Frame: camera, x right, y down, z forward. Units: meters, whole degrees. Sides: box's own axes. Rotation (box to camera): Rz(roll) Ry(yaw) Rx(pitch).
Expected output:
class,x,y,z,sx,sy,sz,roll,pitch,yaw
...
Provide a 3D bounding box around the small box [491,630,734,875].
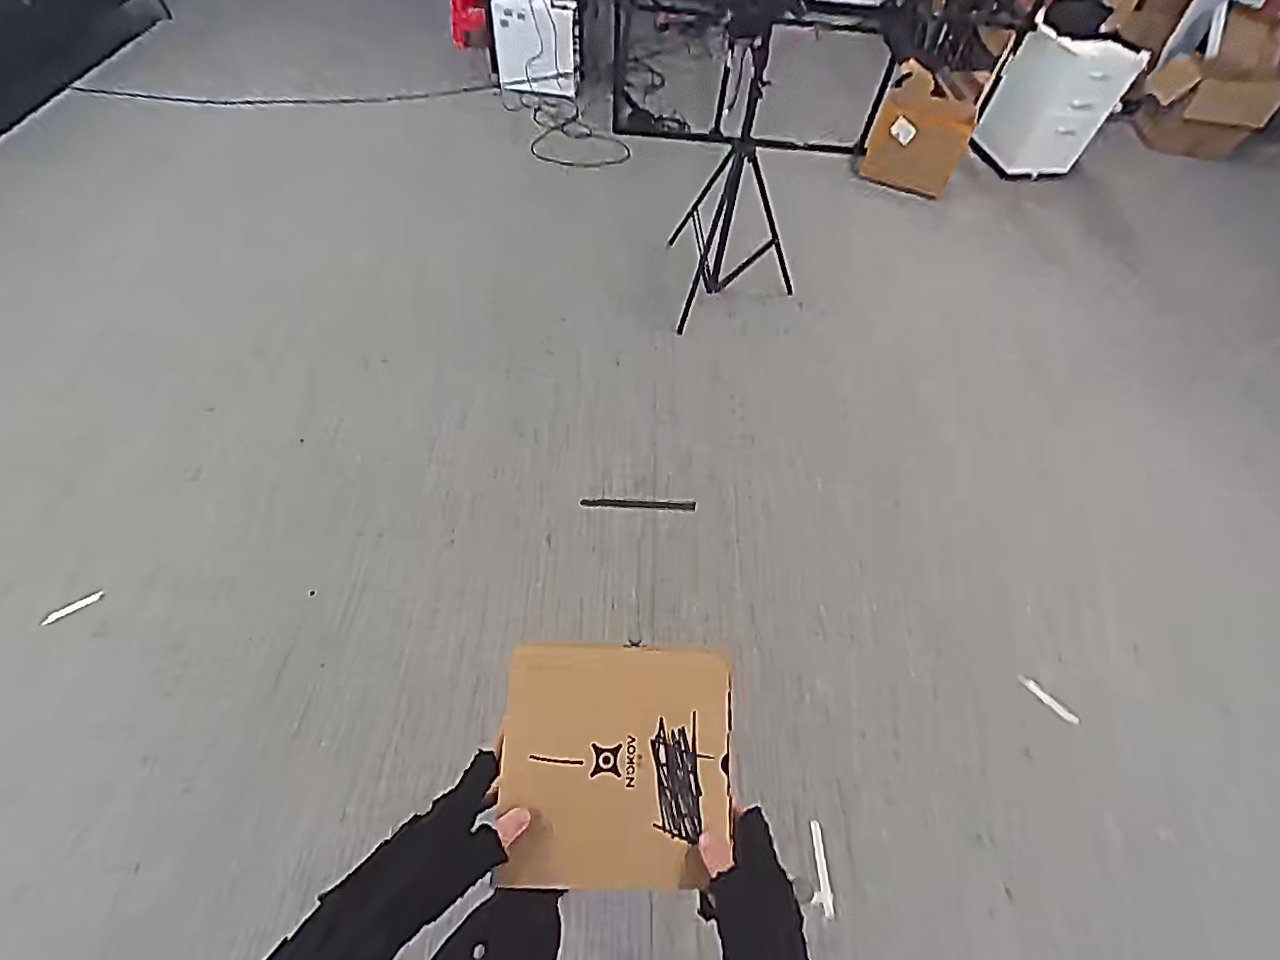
class,x,y,z,sx,sy,sz,roll,pitch,yaw
small box,-0.021,0.224,0.484,0.179,0.176,0.168,3,73,-3
